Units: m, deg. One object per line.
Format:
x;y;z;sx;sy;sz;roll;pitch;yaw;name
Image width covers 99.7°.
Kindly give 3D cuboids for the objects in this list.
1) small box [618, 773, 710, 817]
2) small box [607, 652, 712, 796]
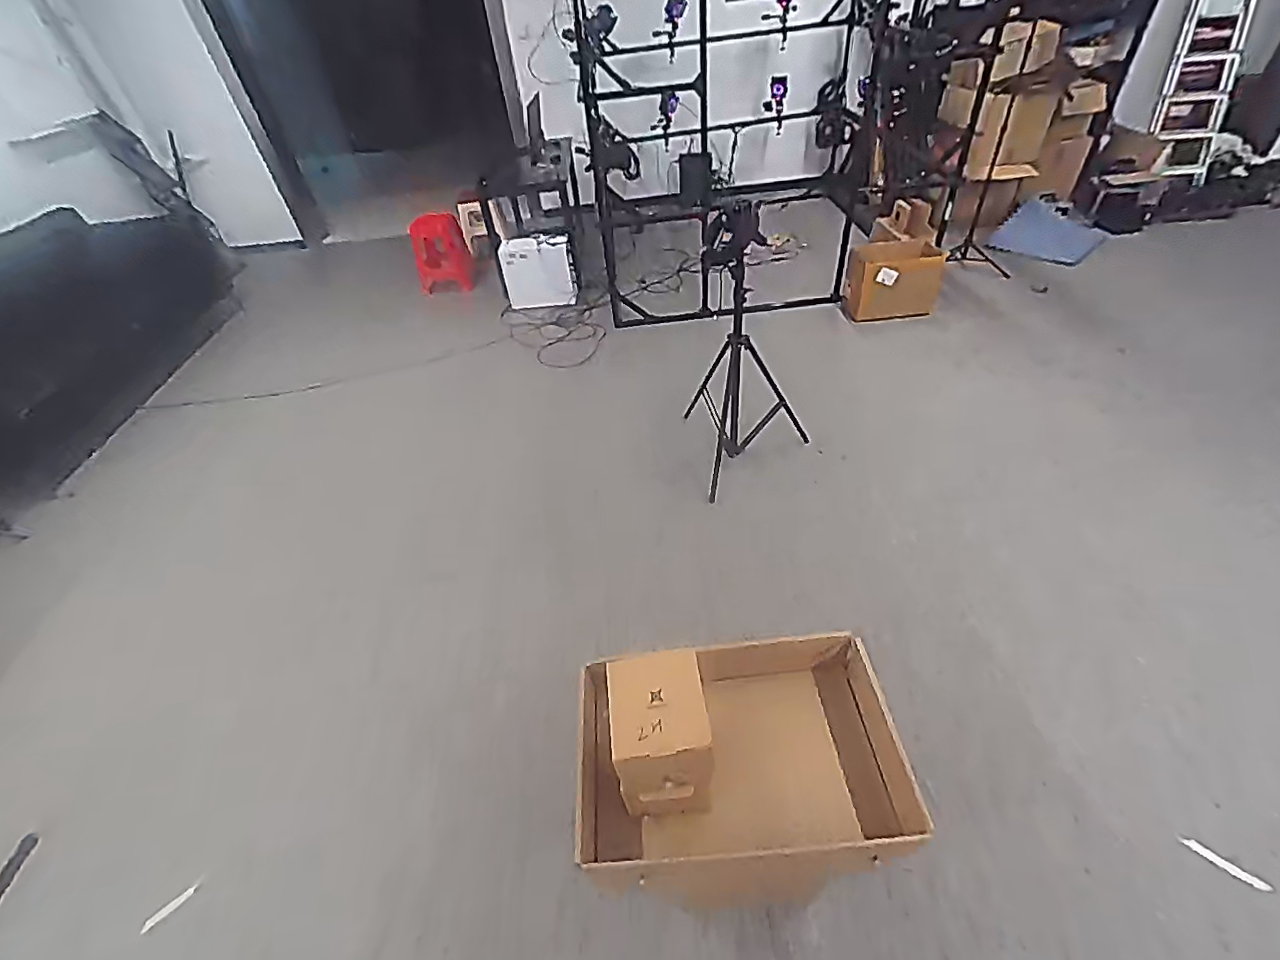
0.046;0.557;1.089;0.168;0.176;0.179;-7;42;1;small box
0.035;0.439;0.975;0.168;0.176;0.179;-9;43;0;small box
